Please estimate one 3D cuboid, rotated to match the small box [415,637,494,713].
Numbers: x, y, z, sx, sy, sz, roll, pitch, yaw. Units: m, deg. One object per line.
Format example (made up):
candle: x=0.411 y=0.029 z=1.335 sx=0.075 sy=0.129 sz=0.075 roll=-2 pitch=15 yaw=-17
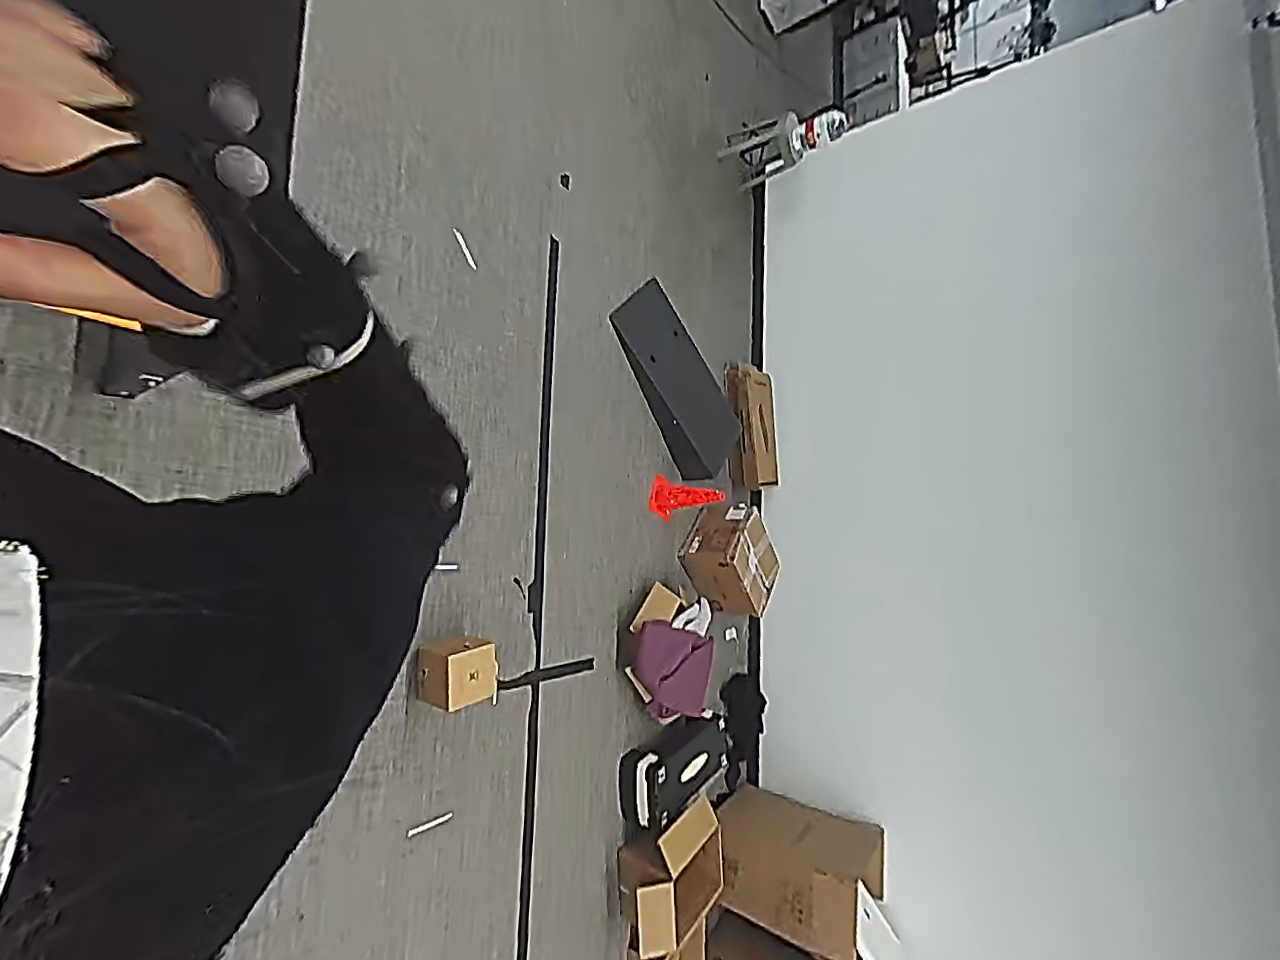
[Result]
small box: x=-0.578 y=0.599 z=1.687 sx=0.179 sy=0.176 sz=0.168 roll=0 pitch=87 yaw=-53
